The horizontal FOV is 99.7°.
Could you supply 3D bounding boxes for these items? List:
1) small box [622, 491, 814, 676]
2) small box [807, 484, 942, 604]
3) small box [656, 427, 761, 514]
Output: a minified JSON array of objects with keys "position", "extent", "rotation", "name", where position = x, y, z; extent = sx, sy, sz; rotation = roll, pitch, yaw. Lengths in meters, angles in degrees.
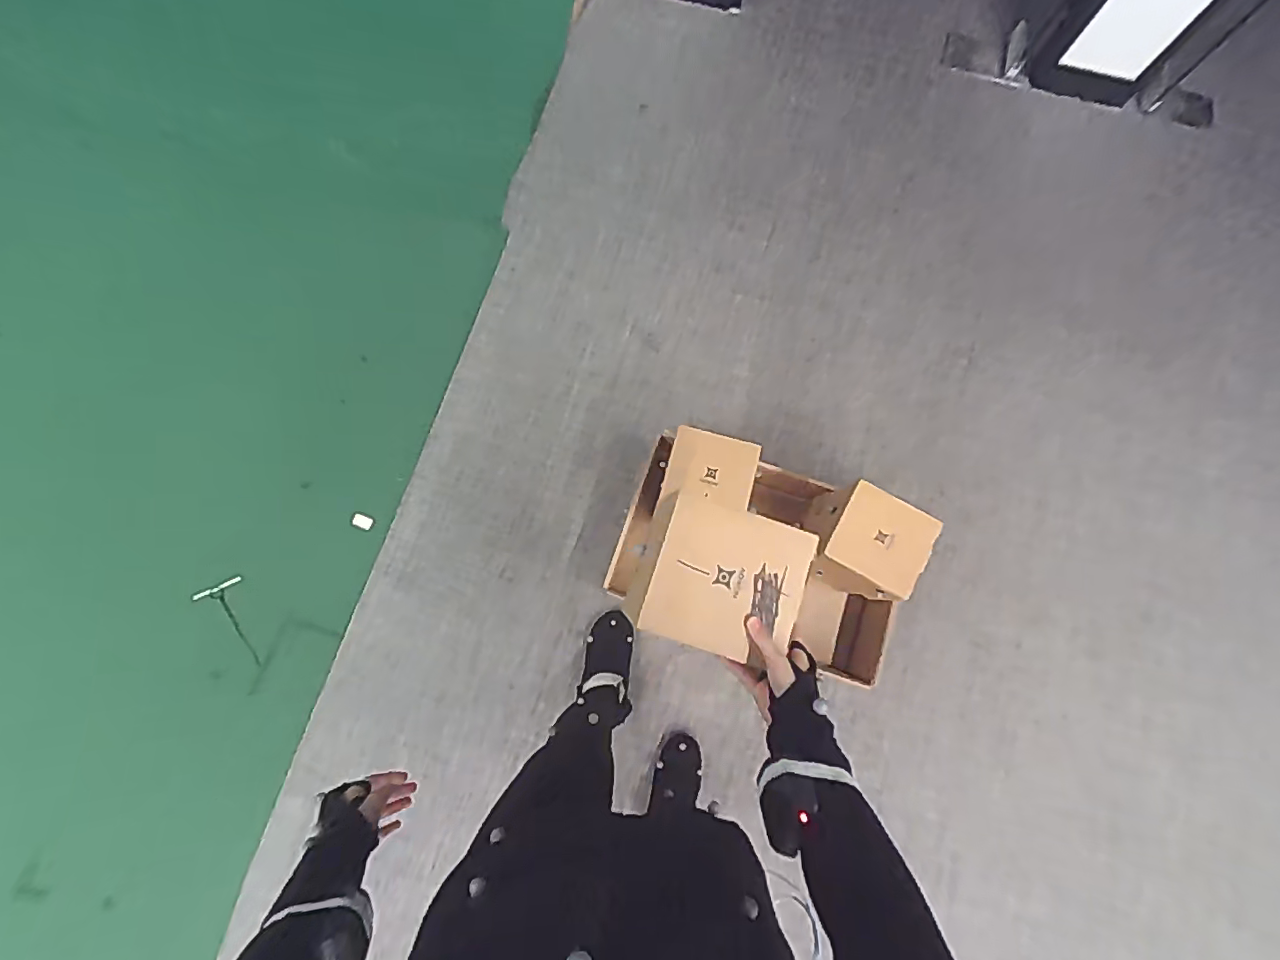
[{"position":[0.087,0.125,0.688],"extent":[0.179,0.176,0.168],"rotation":[20,81,-2],"name":"small box"},{"position":[0.445,0.132,1.074],"extent":[0.179,0.176,0.168],"rotation":[30,81,5],"name":"small box"},{"position":[0.129,0.016,1.093],"extent":[0.168,0.176,0.179],"rotation":[16,80,4],"name":"small box"}]
